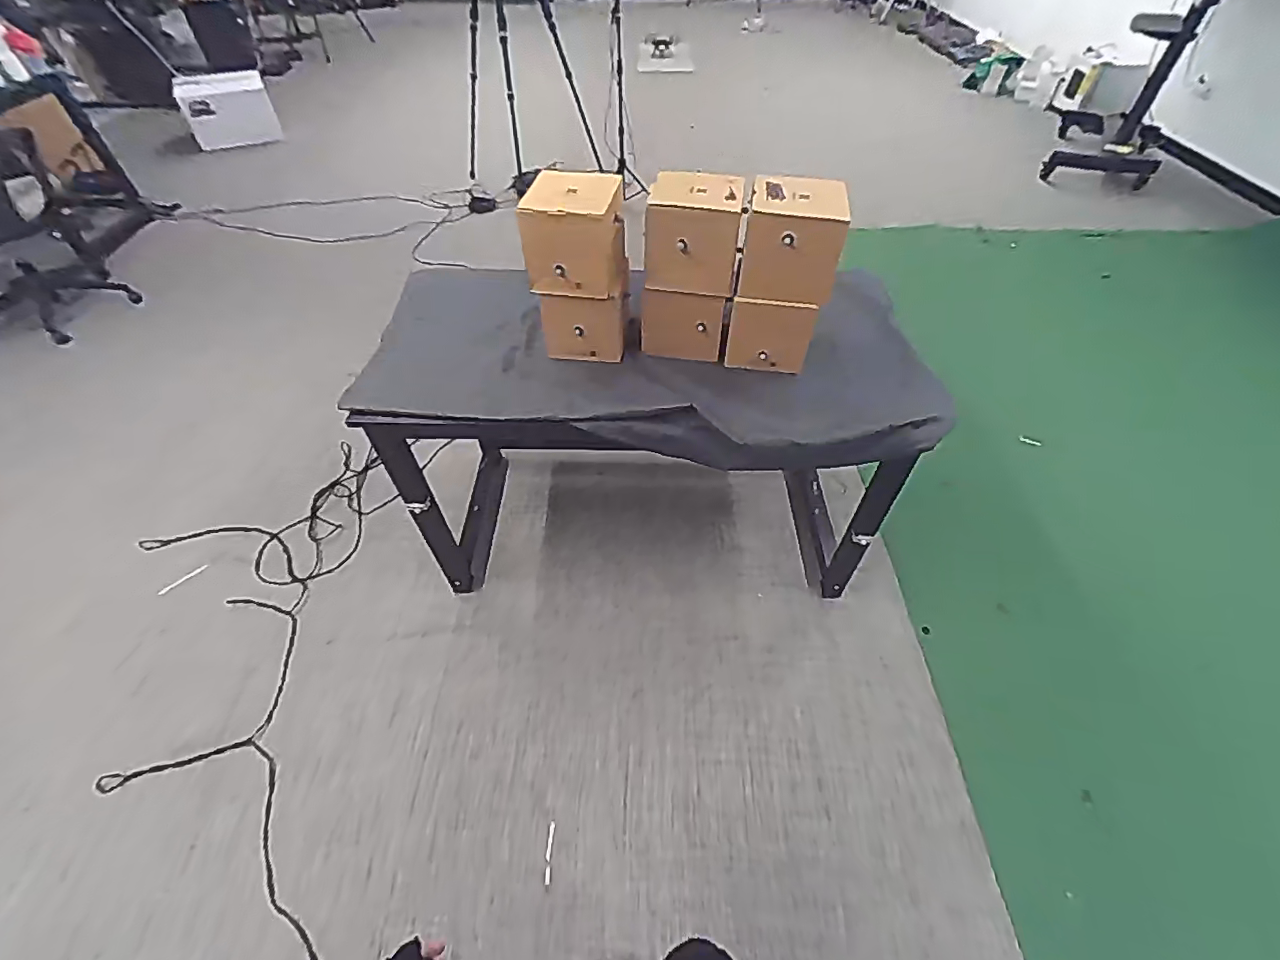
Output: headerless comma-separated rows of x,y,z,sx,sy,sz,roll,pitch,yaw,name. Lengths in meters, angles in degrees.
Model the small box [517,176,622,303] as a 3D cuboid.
-0.131,-0.480,1.081,0.168,0.176,0.179,6,51,7,small box
